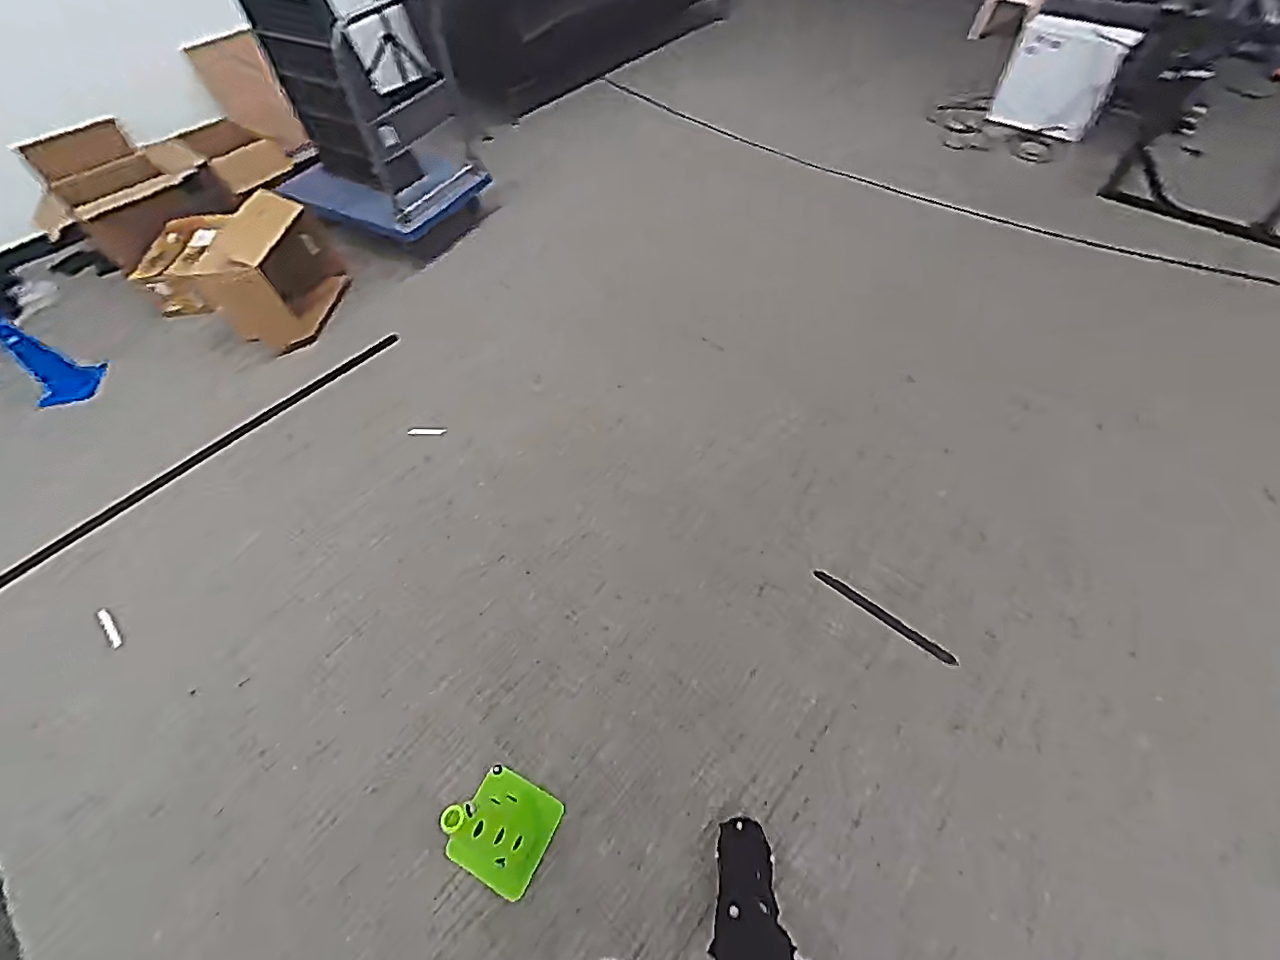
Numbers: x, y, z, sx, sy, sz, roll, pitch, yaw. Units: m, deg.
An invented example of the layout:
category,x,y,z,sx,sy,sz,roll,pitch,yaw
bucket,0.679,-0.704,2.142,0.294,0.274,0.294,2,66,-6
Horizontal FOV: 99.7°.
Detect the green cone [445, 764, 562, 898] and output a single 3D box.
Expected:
category,x,y,z,sx,sy,sz,roll,pitch,yaw
green cone,-0.305,0.668,1.047,0.202,0.368,0.200,22,60,17
